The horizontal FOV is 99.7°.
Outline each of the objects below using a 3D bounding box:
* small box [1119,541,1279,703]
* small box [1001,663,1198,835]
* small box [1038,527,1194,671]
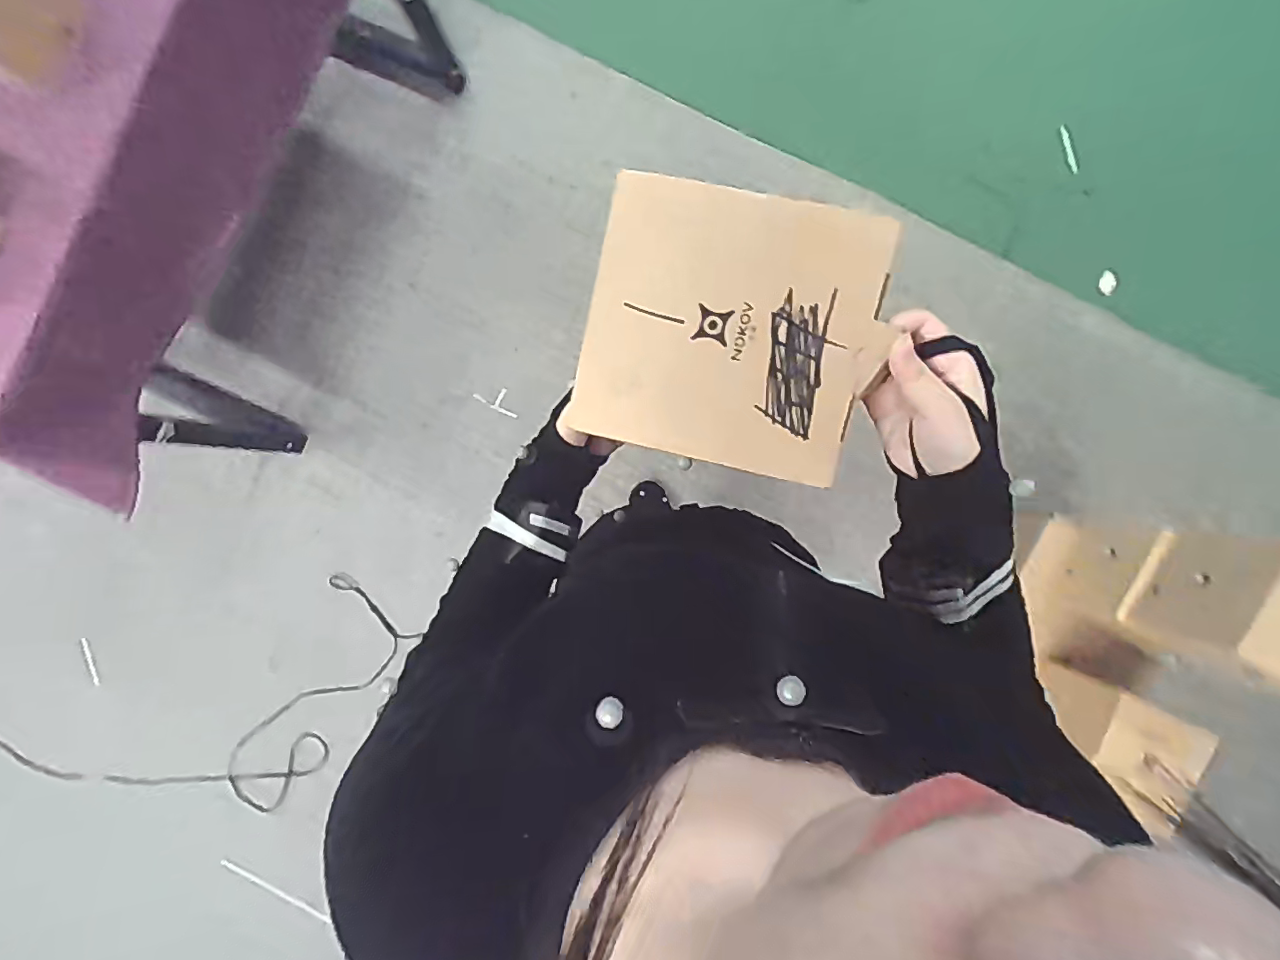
[{"bbox_3d":[0.857,0.199,0.771,0.179,0.176,0.168,31,92,1],"label":"small box"},{"bbox_3d":[0.776,0.452,0.938,0.168,0.176,0.179,28,89,0],"label":"small box"},{"bbox_3d":[0.850,0.193,0.936,0.179,0.176,0.168,29,92,1],"label":"small box"}]
